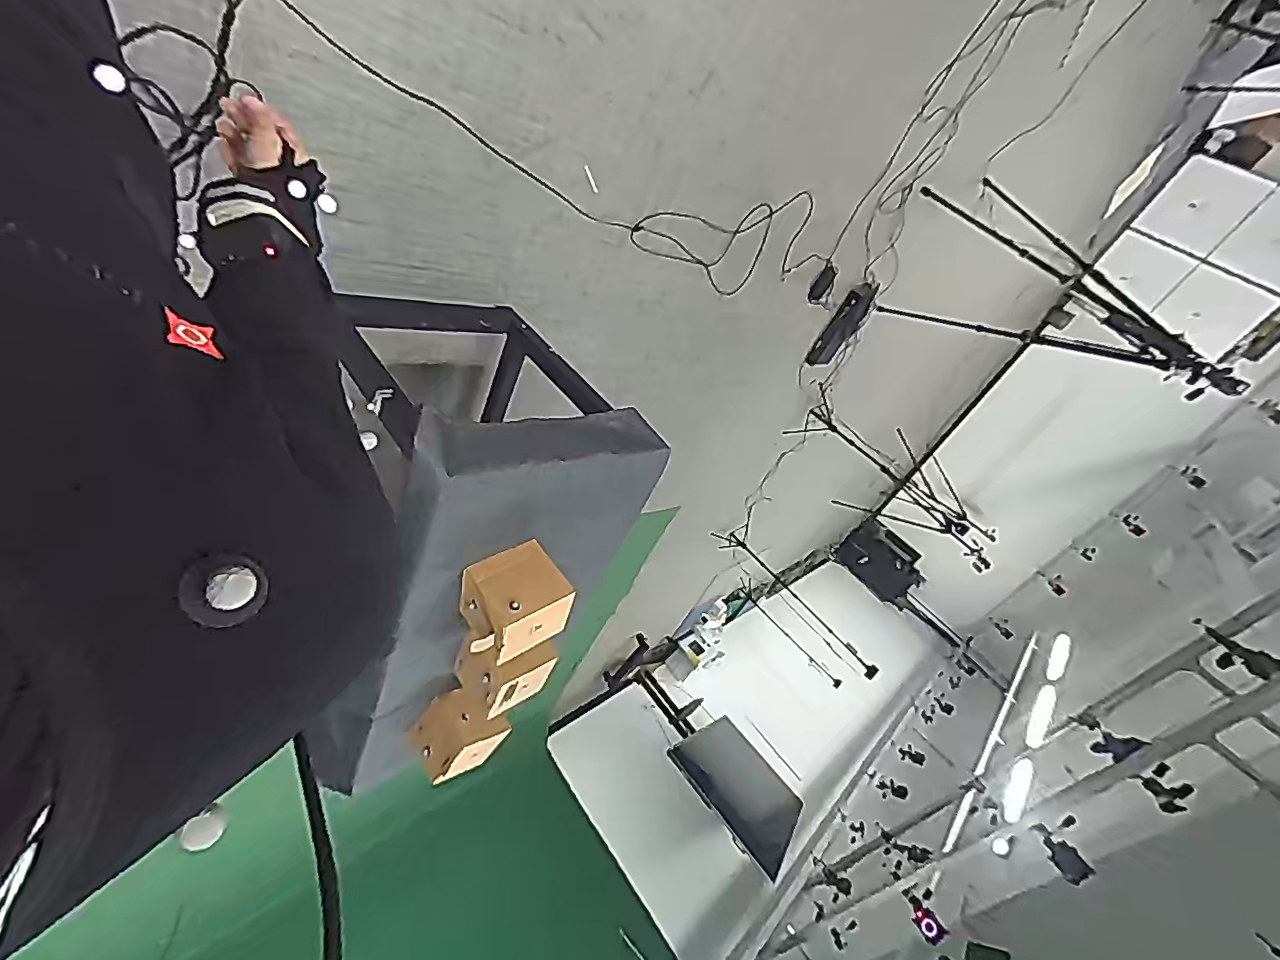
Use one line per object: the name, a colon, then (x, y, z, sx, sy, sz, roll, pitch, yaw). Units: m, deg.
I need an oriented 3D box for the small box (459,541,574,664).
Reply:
small box: (-0.278, 0.264, 1.201, 0.179, 0.176, 0.168, -21, 147, -38)

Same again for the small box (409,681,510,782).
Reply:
small box: (-0.509, 0.694, 1.512, 0.168, 0.176, 0.179, -50, 154, 15)
